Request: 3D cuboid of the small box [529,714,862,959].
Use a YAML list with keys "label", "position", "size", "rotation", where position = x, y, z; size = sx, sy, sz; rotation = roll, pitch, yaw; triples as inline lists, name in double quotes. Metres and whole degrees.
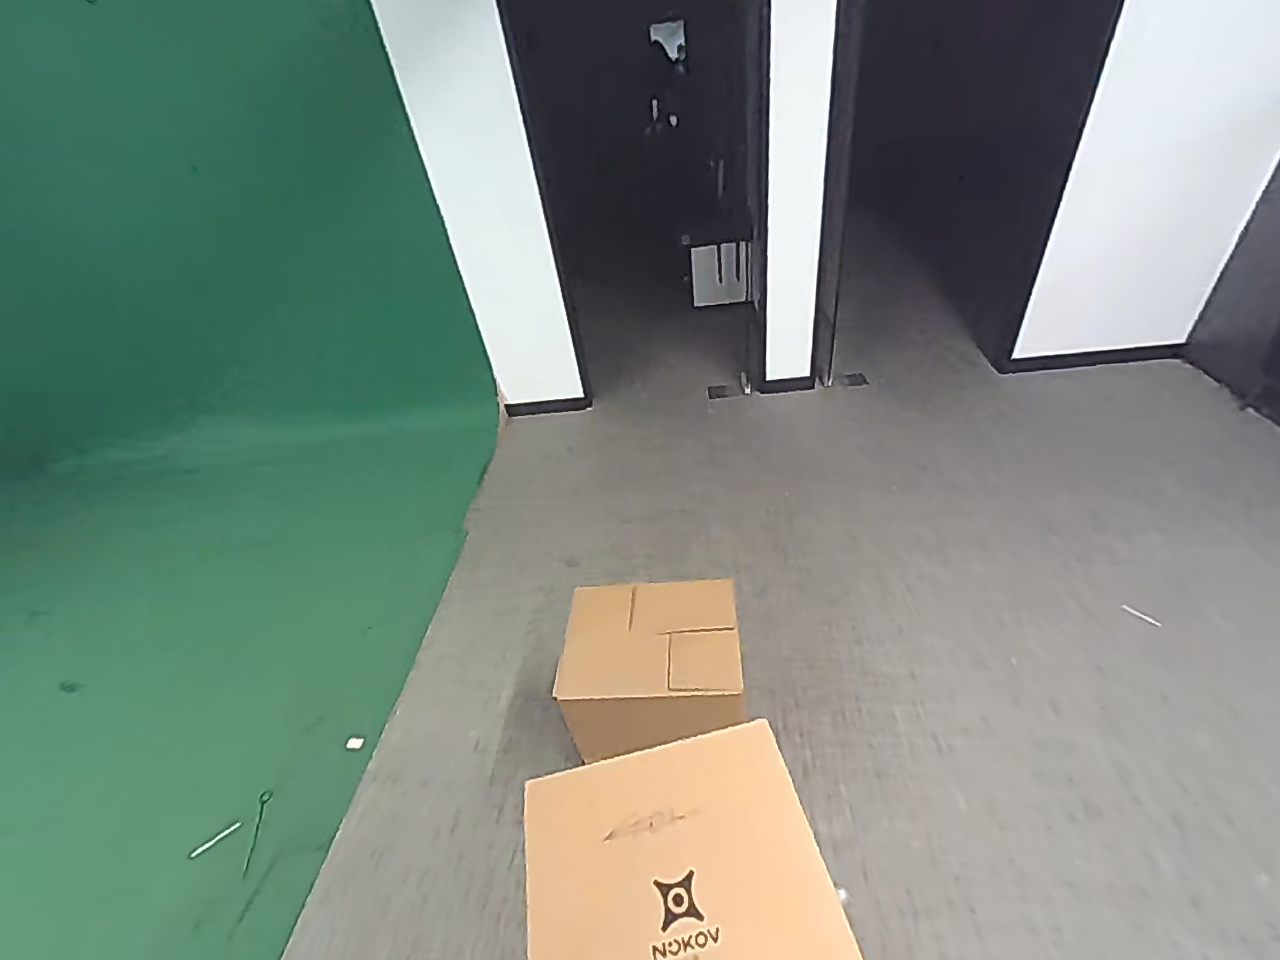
- label: "small box"
  position: [0.033, 0.287, 0.339]
  size: [0.168, 0.176, 0.179]
  rotation: [-13, 38, -4]
